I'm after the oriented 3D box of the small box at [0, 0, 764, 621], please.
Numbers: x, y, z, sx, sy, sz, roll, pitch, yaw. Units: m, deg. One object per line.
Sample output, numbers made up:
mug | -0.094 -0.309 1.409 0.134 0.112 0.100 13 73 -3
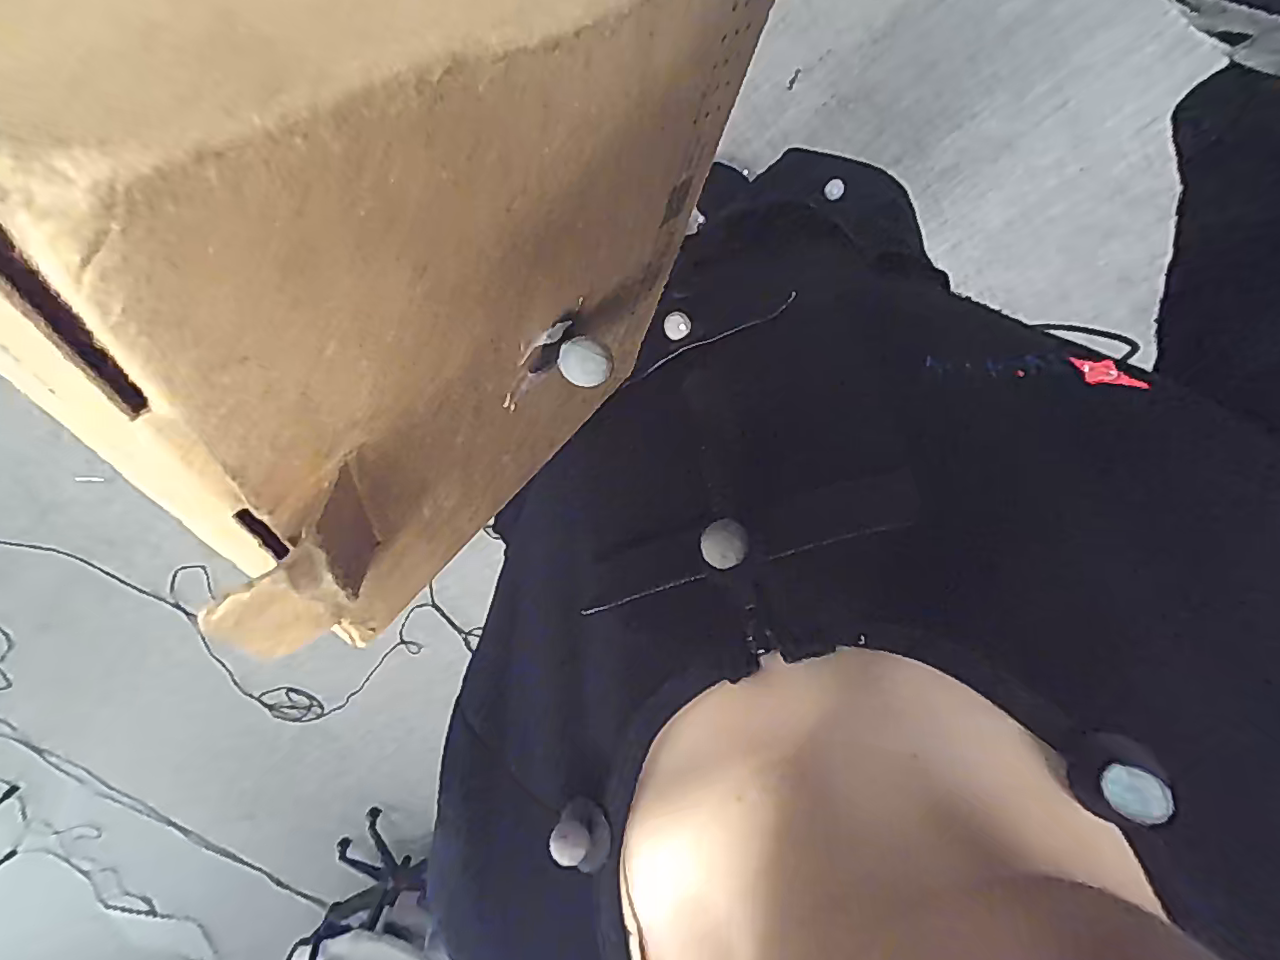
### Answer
small box | -0.092 -0.092 0.167 0.179 0.176 0.168 37 147 4
